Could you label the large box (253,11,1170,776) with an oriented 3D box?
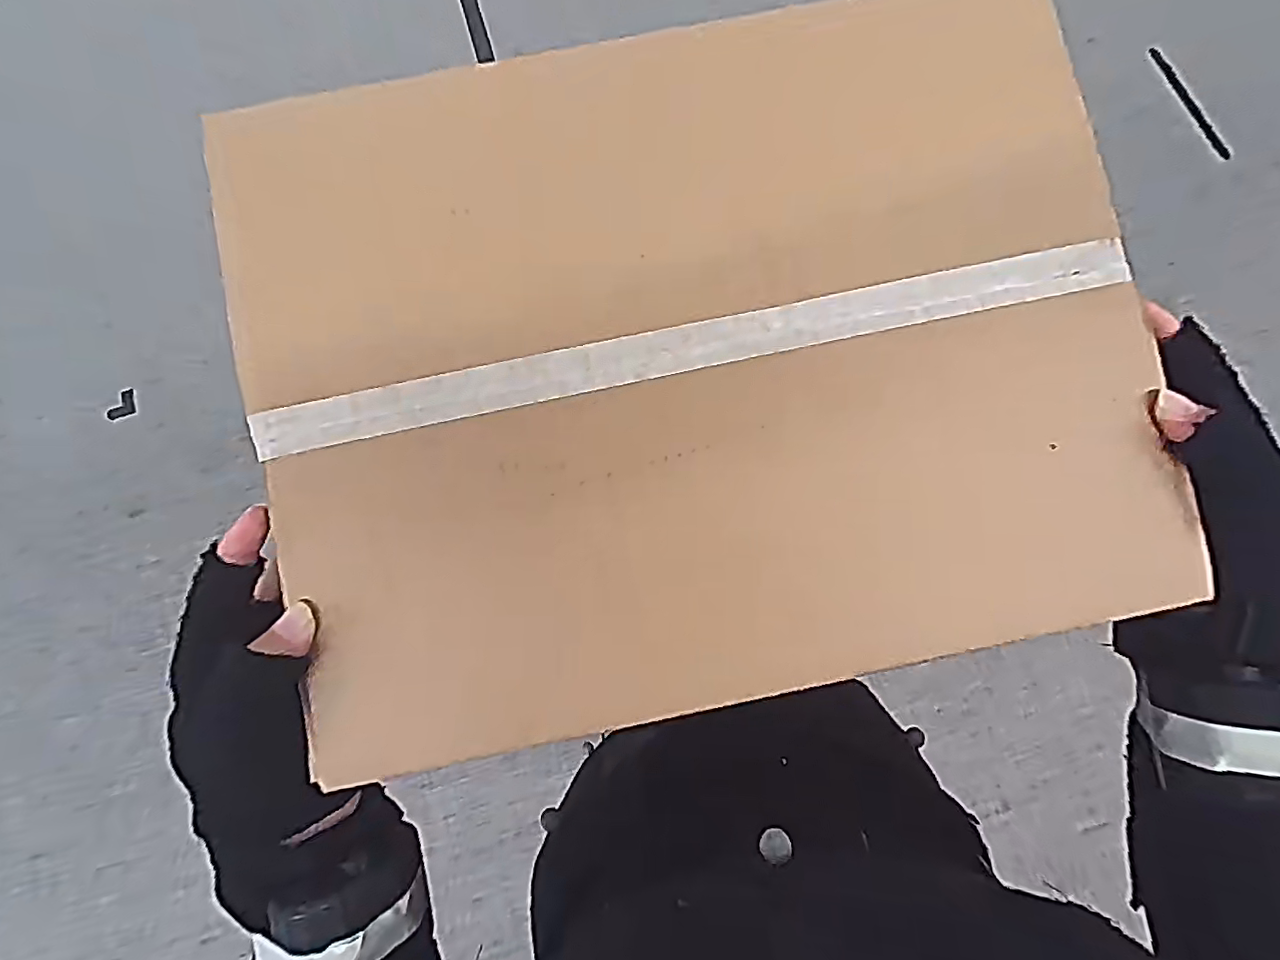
[{"bbox_3d":[0.027,-0.041,0.413,0.408,0.320,0.320,-12,87,-1],"label":"large box"}]
